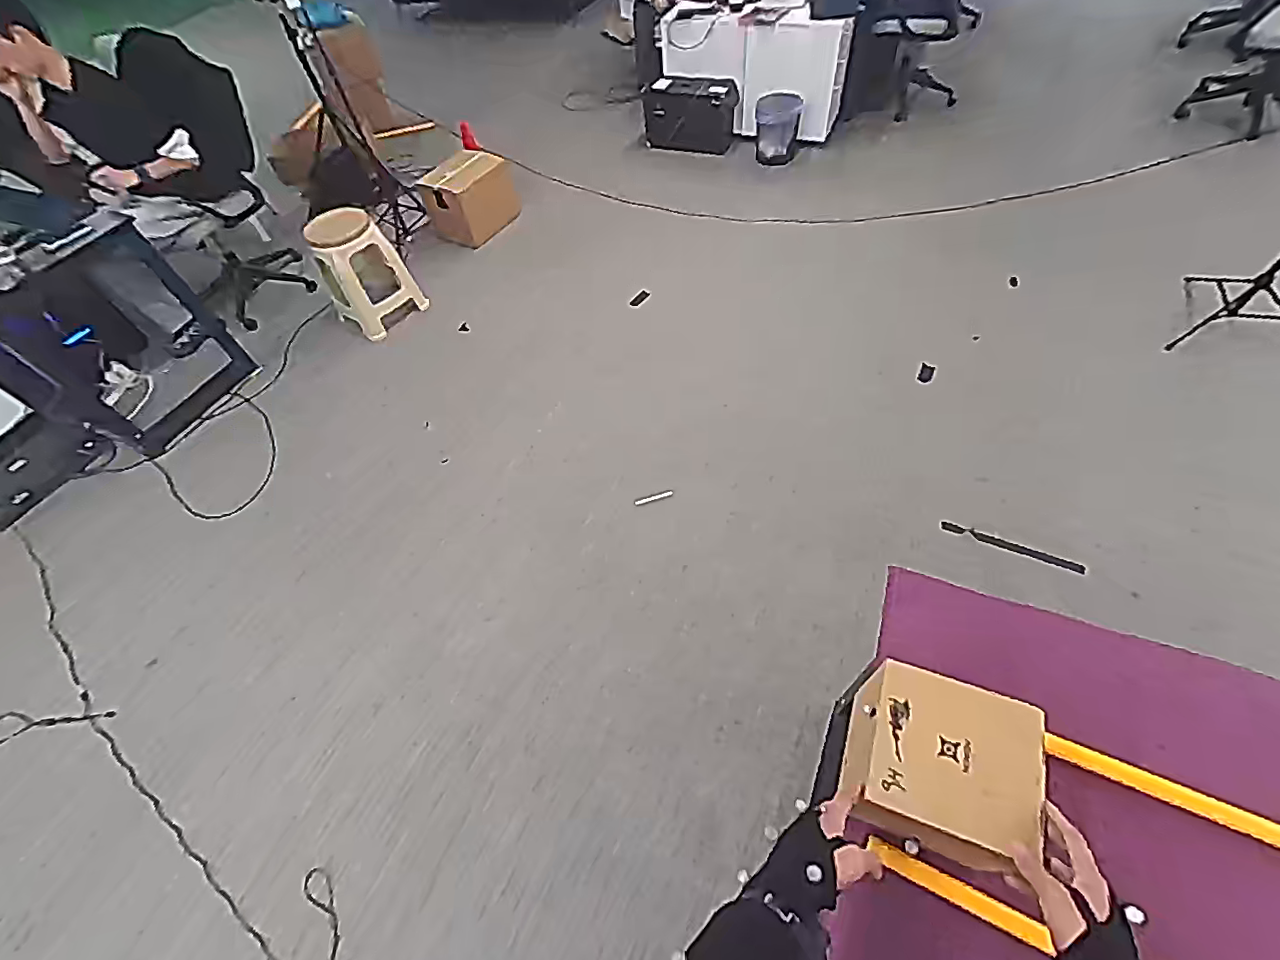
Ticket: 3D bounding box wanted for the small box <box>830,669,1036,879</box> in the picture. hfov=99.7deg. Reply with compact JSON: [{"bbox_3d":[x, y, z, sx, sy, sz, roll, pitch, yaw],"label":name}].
[{"bbox_3d":[0.359,0.367,0.683,0.179,0.176,0.168,16,59,16],"label":"small box"}]
